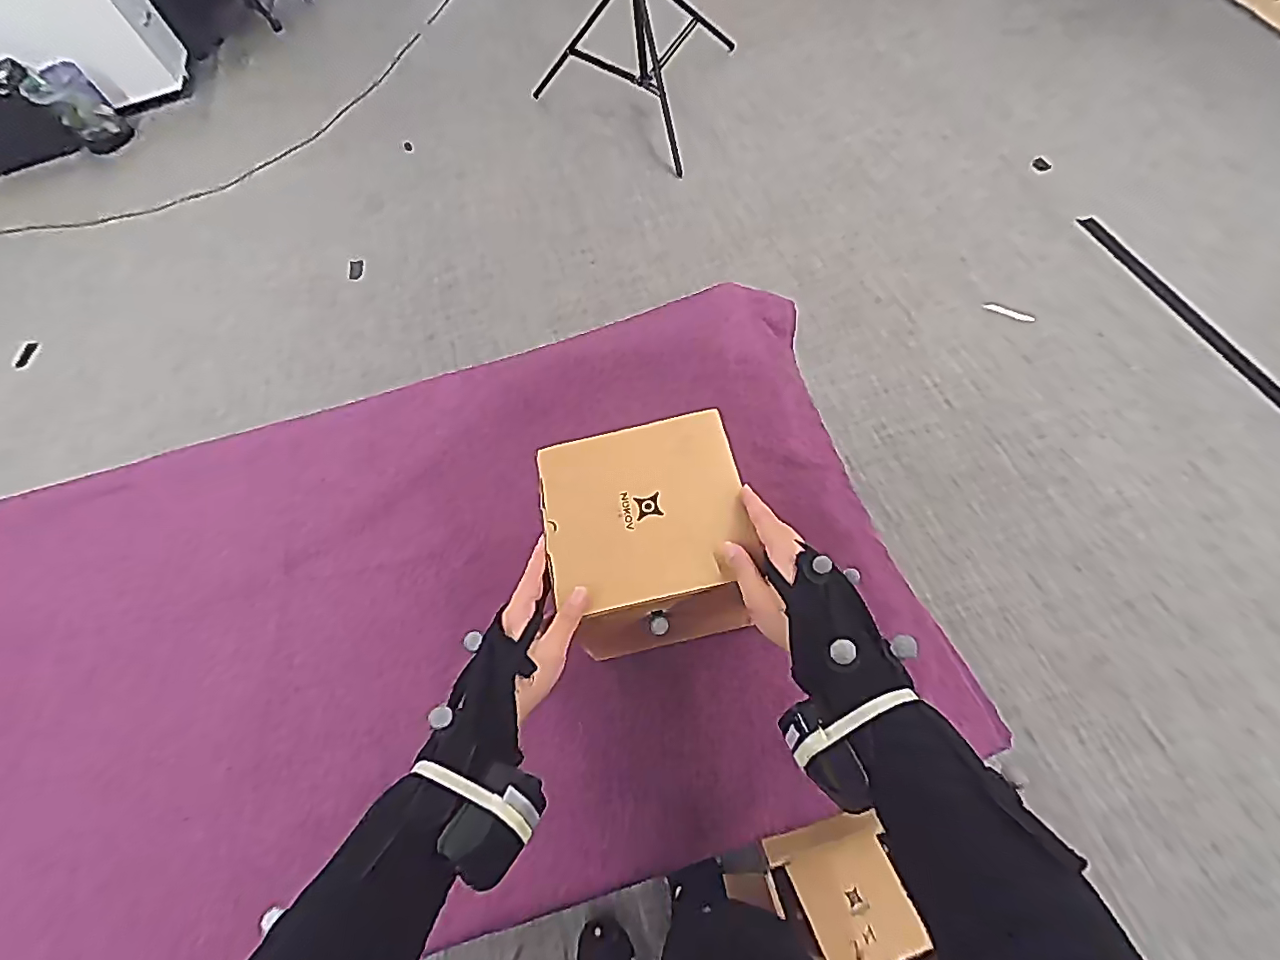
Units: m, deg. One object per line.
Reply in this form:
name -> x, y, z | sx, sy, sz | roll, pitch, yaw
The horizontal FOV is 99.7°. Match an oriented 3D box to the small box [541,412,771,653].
small box -> 0.015, 0.061, 0.536 | 0.179, 0.176, 0.168 | -14, 61, 2
